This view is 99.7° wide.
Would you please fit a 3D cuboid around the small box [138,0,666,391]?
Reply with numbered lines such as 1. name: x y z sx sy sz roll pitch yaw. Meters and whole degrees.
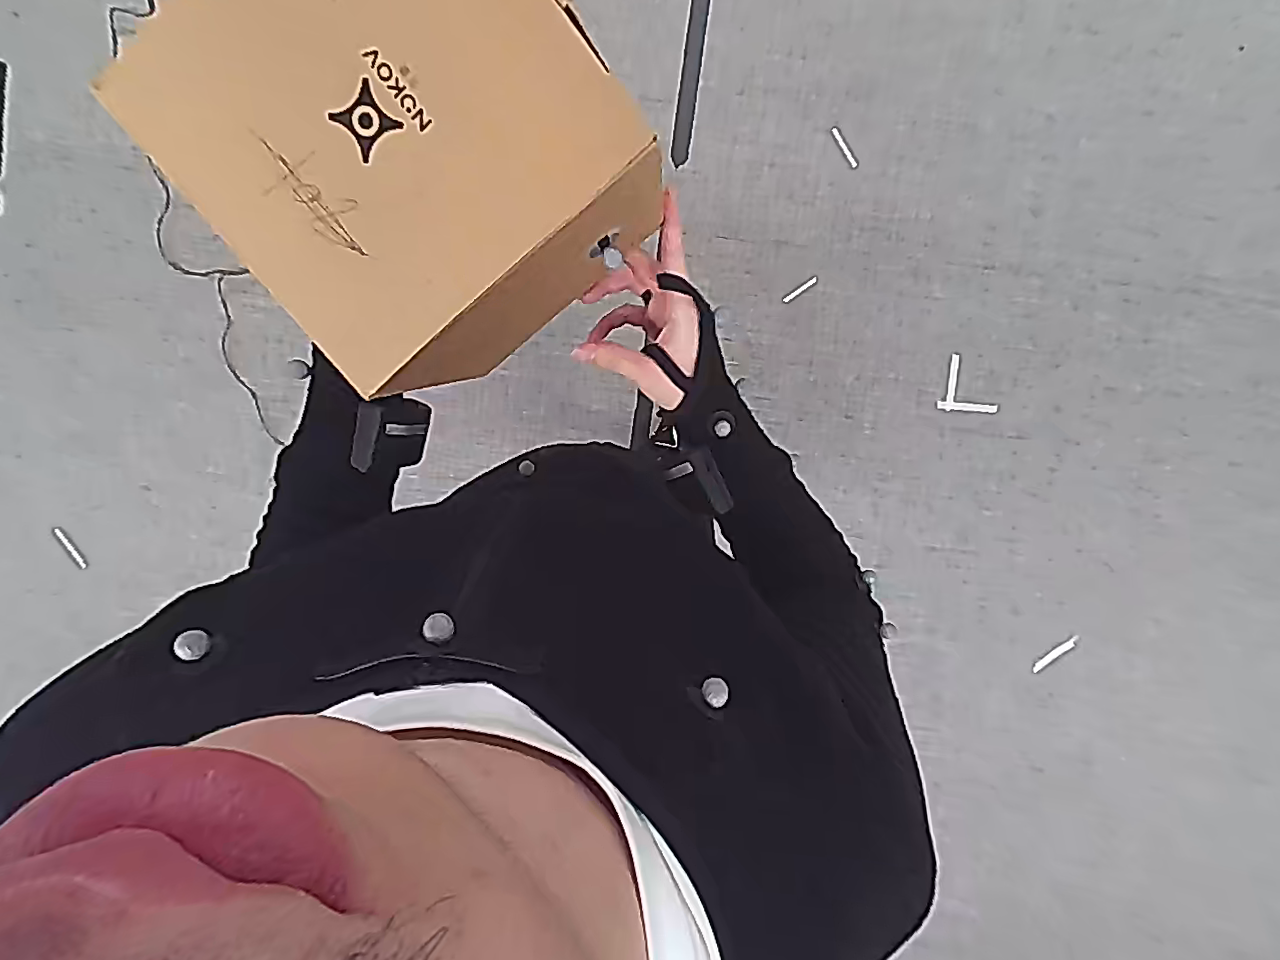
1. small box: -0.102 -0.175 0.312 0.179 0.176 0.168 -37 99 11
